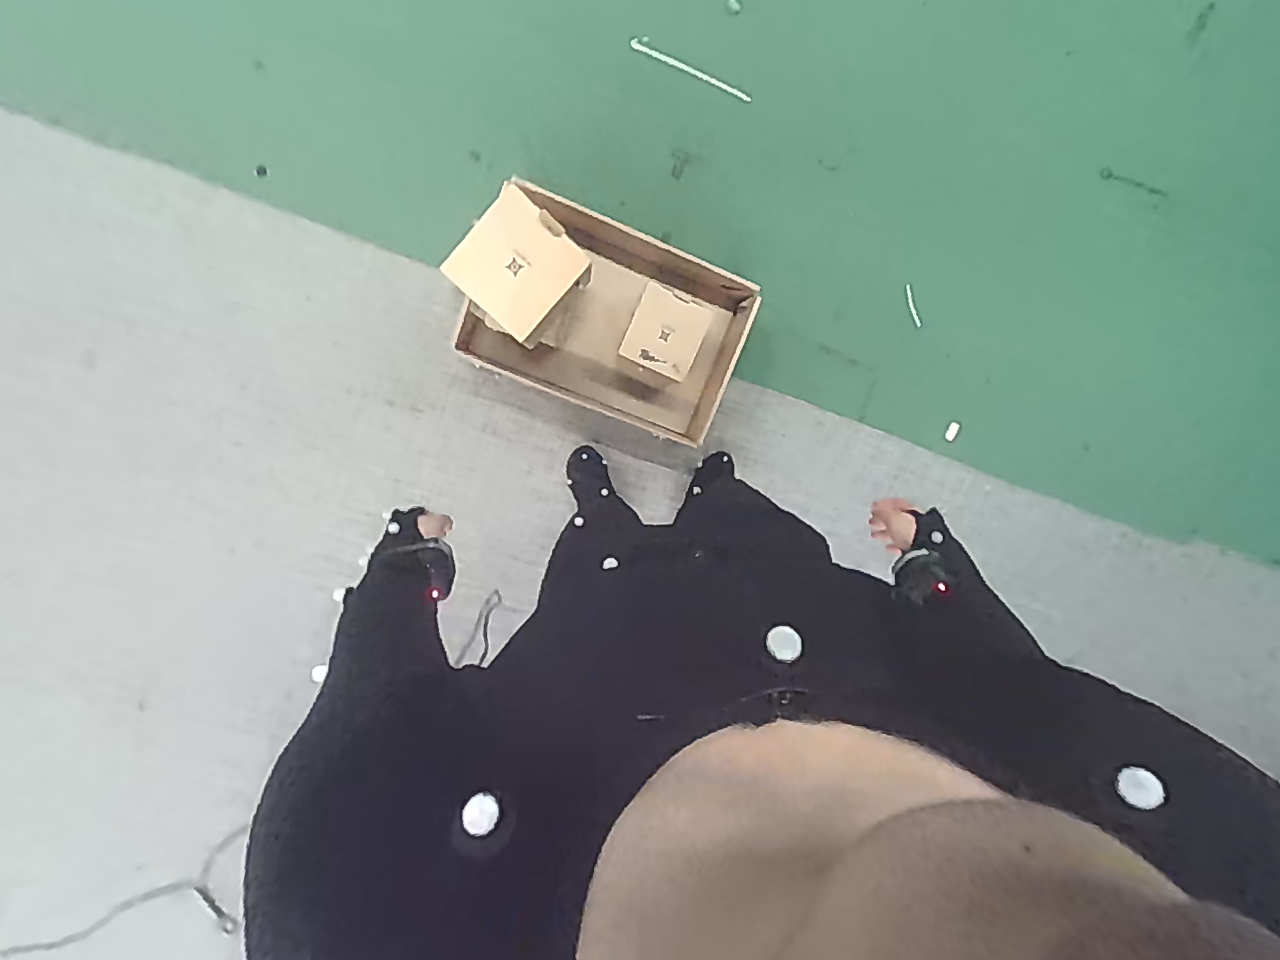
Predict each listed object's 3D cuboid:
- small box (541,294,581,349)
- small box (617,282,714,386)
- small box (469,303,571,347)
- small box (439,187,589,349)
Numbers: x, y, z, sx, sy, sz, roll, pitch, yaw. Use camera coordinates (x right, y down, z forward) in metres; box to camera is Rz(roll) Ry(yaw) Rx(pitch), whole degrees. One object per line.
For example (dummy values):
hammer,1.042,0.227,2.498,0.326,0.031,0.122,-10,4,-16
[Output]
small box,-0.229,-0.410,1.227,0.168,0.176,0.179,18,96,-9
small box,0.050,-0.336,1.275,0.168,0.176,0.179,24,97,-9
small box,-0.219,-0.375,1.068,0.168,0.176,0.179,19,96,-10
small box,-0.200,-0.340,0.910,0.168,0.176,0.179,41,92,-12
